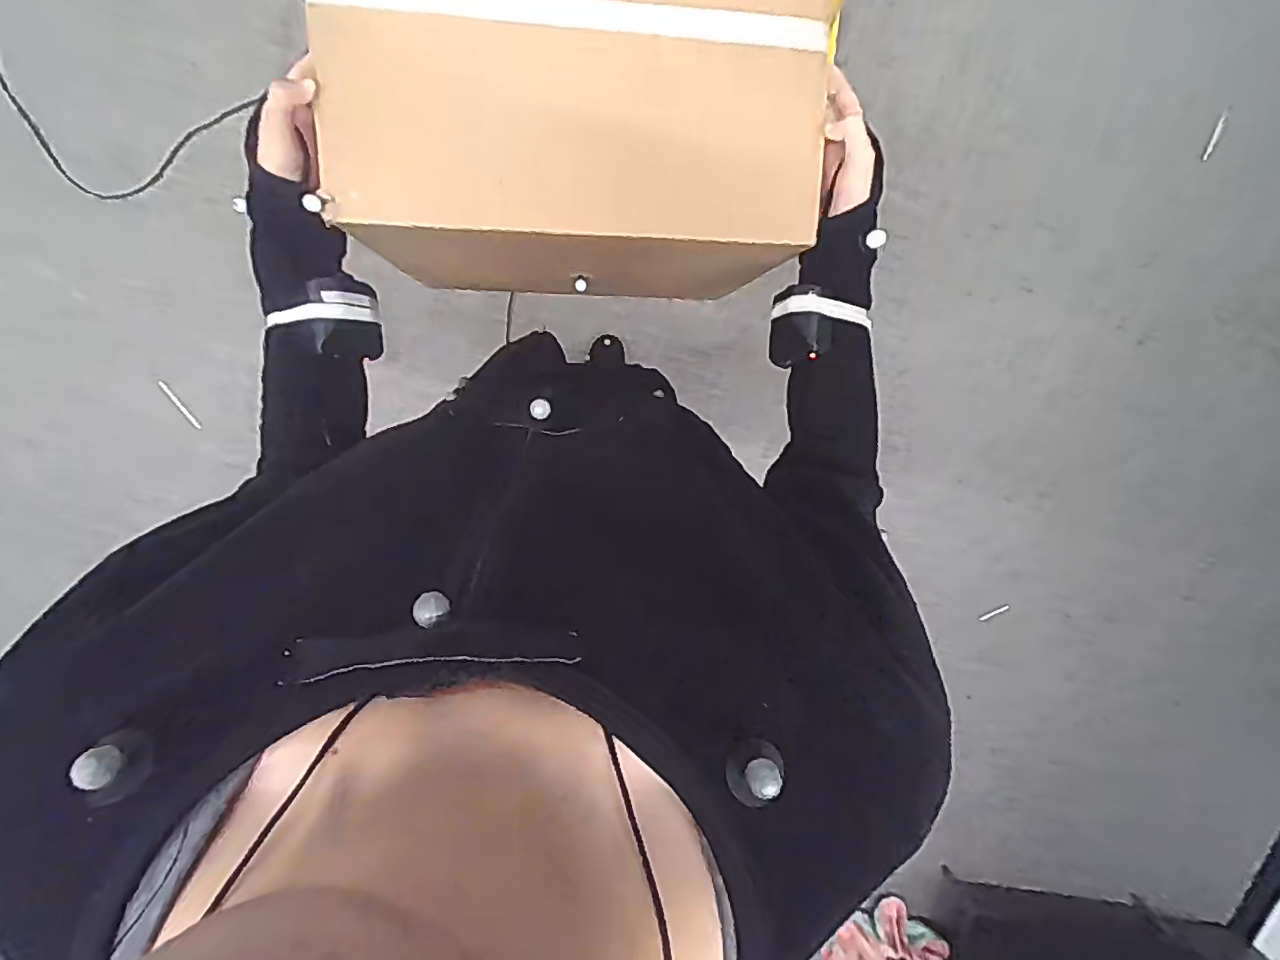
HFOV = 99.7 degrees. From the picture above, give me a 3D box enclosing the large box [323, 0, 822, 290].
[{"bbox_3d":[-0.061,-0.386,0.580,0.408,0.320,0.320,-1,100,-7],"label":"large box"}]
